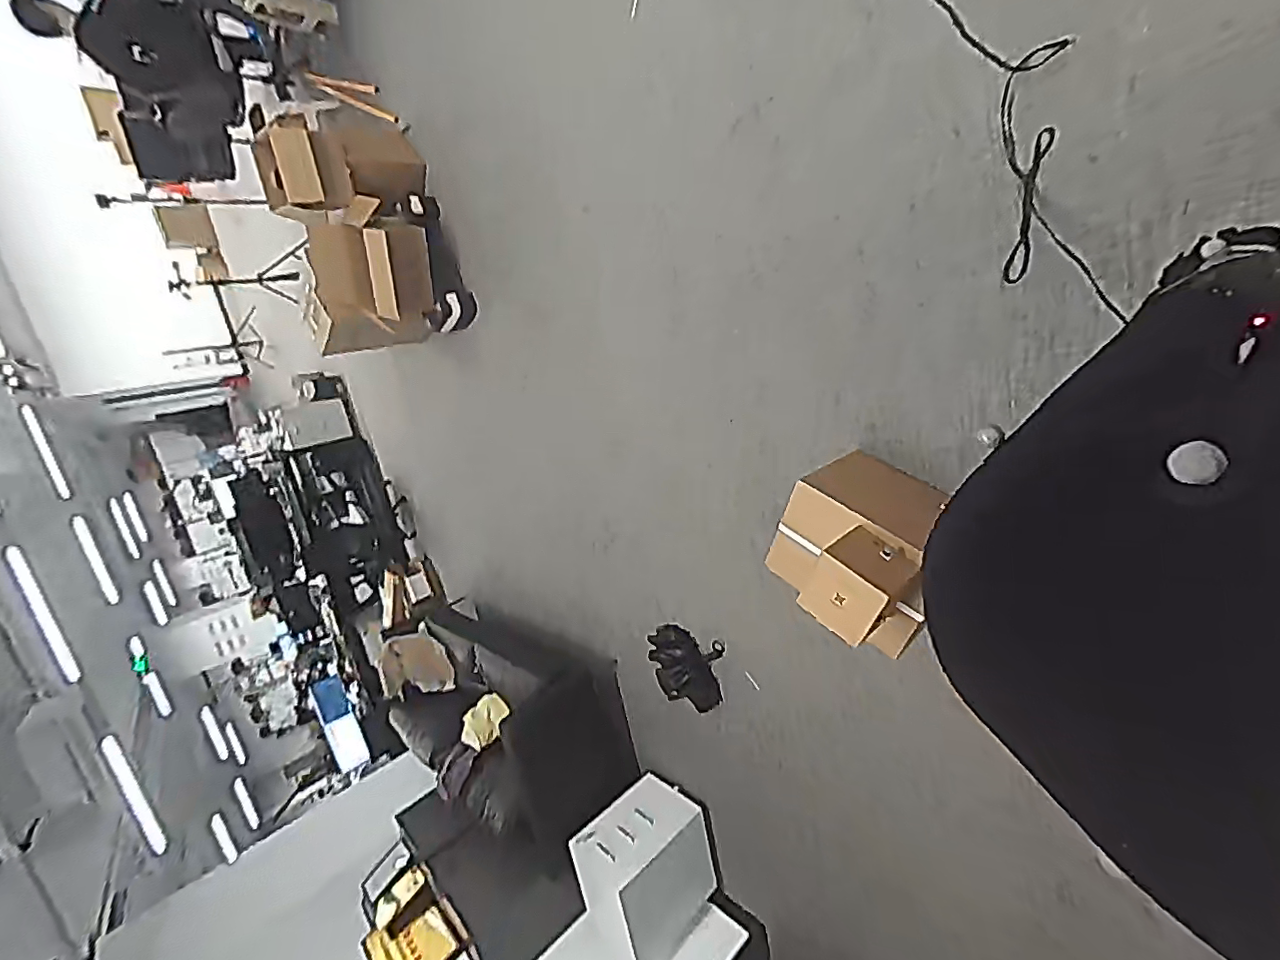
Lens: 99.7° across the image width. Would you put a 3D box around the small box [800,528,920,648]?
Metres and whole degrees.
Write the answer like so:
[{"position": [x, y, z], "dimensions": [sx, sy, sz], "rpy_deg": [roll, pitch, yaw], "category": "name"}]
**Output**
[{"position": [0.503, 0.240, 1.235], "dimensions": [0.168, 0.176, 0.179], "rpy_deg": [38, 131, 32], "category": "small box"}]
